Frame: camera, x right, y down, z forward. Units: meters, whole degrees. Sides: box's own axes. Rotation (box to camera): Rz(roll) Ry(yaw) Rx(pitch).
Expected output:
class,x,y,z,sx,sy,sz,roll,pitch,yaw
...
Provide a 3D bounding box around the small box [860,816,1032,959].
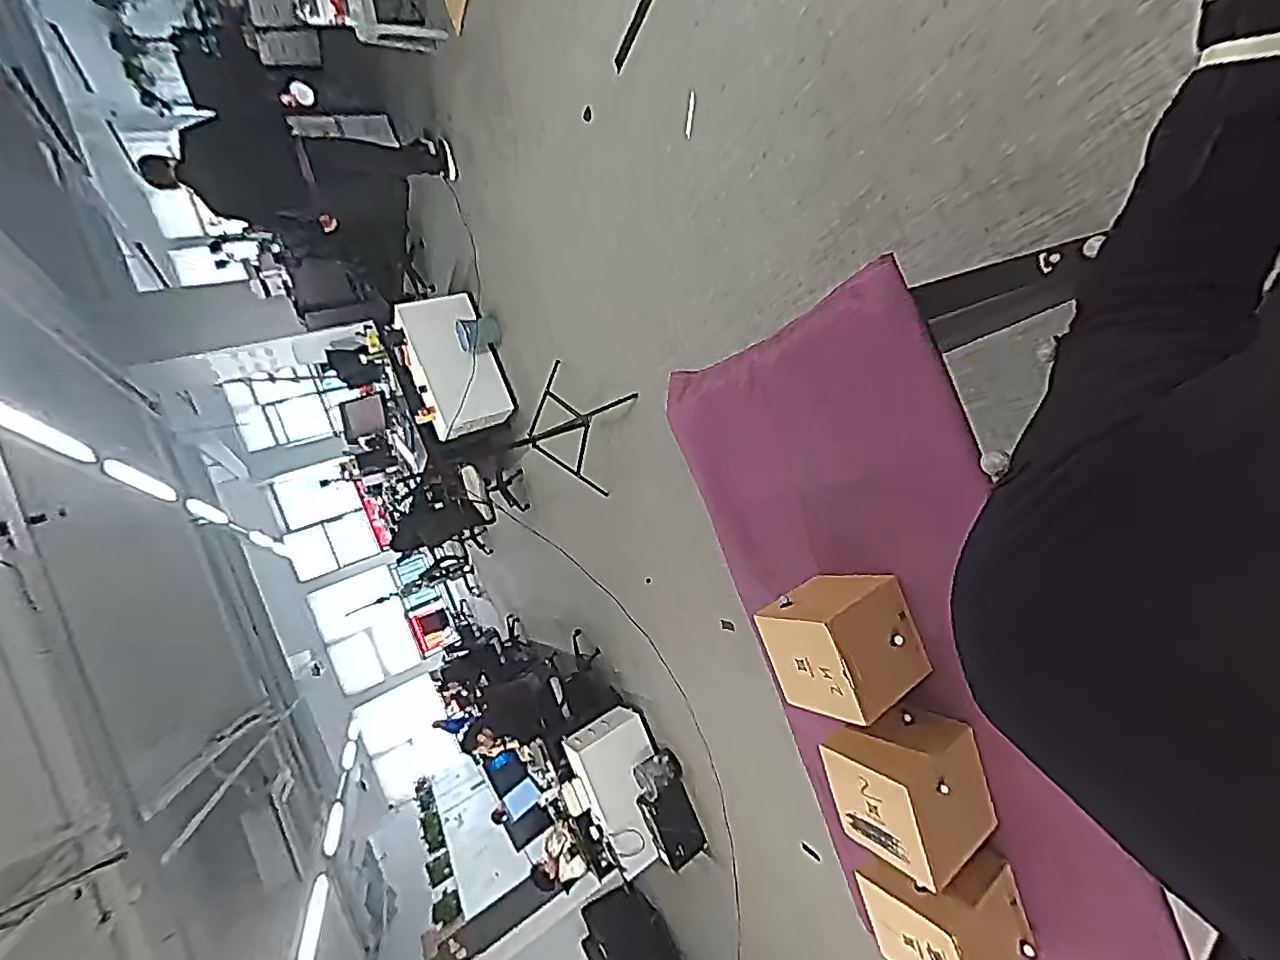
class,x,y,z,sx,sy,sz,roll,pitch,yaw
small box,0.506,0.703,0.890,0.179,0.176,0.168,-11,99,62

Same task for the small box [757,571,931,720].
class,x,y,z,sx,sy,sz,roll,pitch,yaw
small box,0.331,0.258,0.888,0.179,0.176,0.168,-21,92,63
